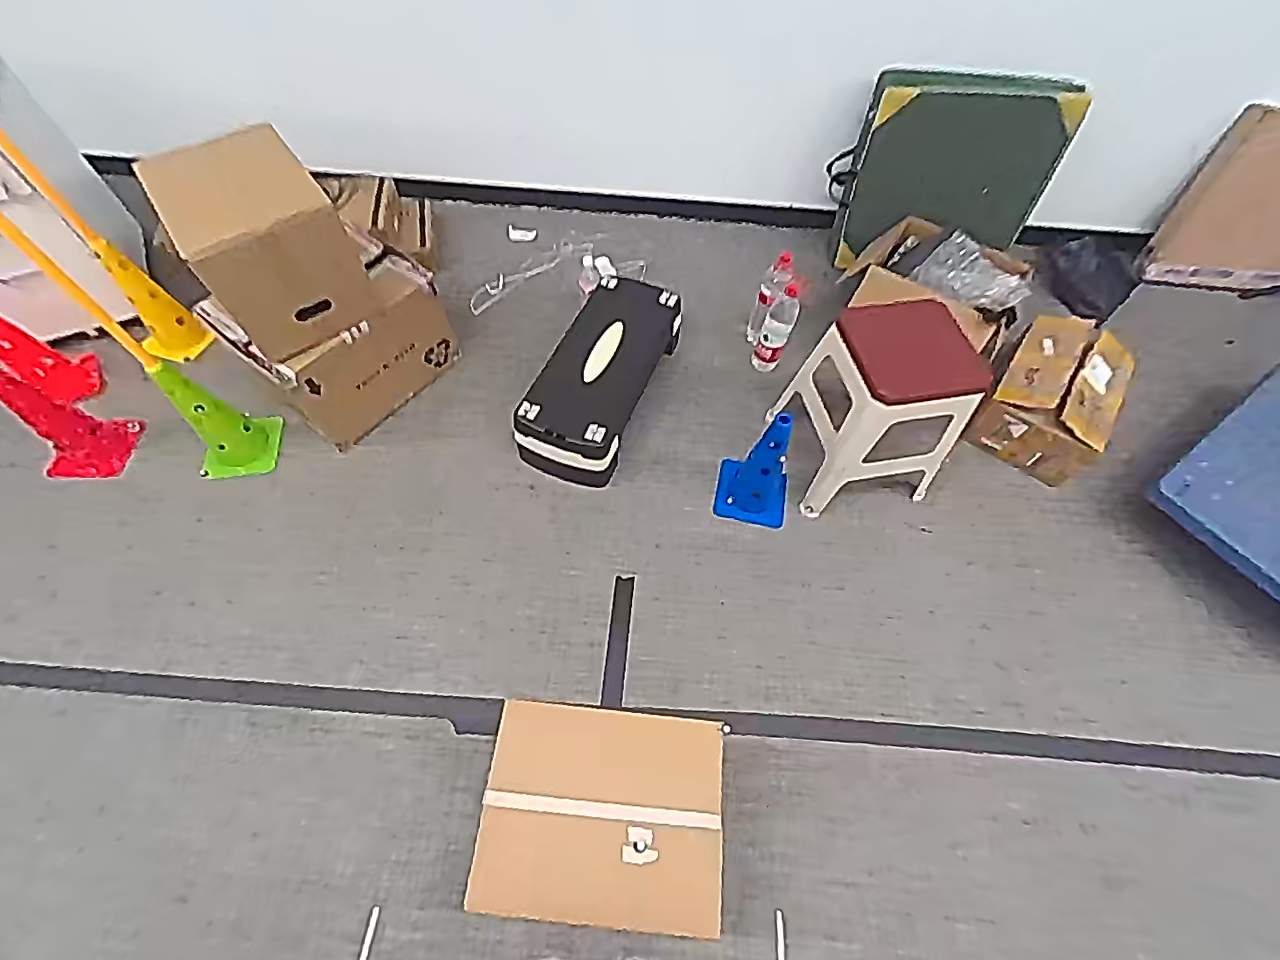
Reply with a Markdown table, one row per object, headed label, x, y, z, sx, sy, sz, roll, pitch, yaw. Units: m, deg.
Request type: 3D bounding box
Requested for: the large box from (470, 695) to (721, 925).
| label | x | y | z | sx | sy | sz | roll | pitch | yaw |
| --- | --- | --- | --- | --- | --- | --- | --- | --- | --- |
| large box | -0.071 | 0.625 | 1.052 | 0.408 | 0.320 | 0.320 | 7 | 60 | 0 |
